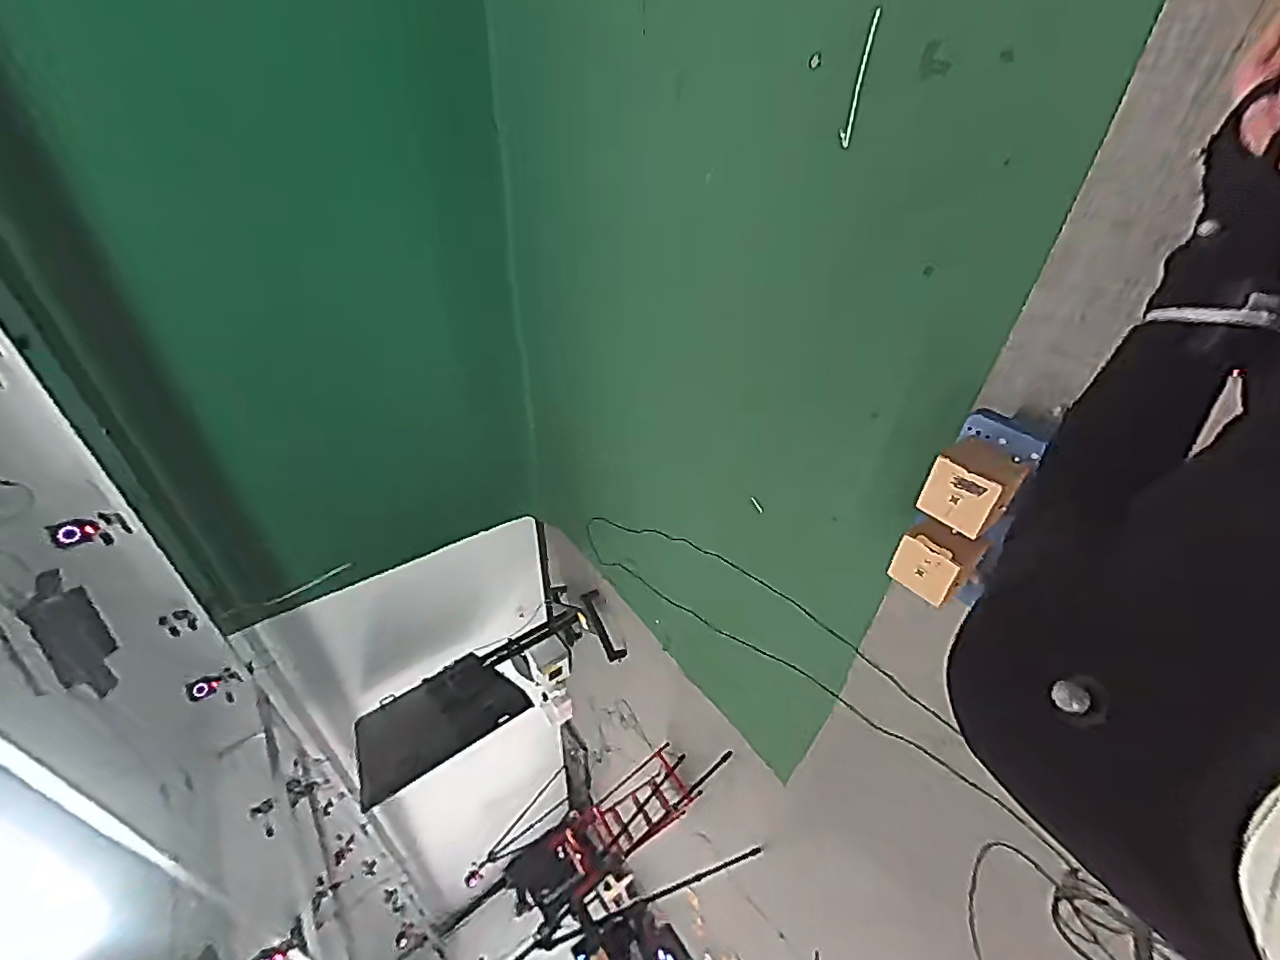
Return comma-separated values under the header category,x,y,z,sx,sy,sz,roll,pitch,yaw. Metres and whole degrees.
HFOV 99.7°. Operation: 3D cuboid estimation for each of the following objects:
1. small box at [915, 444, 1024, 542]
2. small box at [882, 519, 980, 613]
category,x,y,z,sx,sy,sz,roll,pitch,yaw
small box,0.877,0.027,1.437,0.168,0.176,0.179,41,141,39
small box,0.853,0.247,1.585,0.168,0.176,0.179,39,140,37
